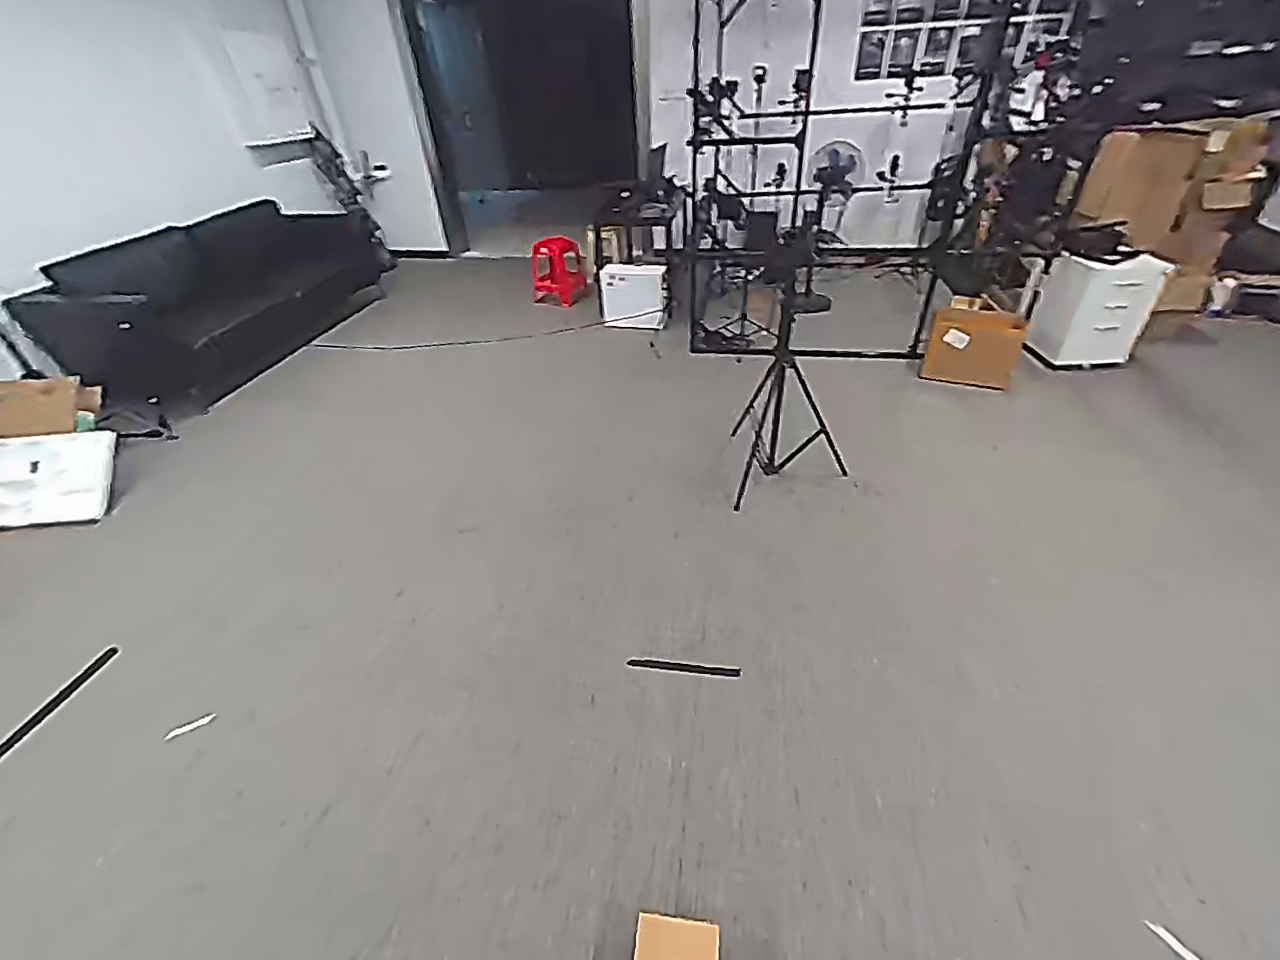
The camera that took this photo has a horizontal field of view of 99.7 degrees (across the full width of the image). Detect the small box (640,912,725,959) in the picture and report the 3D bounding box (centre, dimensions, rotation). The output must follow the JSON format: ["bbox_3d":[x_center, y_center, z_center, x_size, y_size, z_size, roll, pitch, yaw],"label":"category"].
[{"bbox_3d":[0.079,1.006,1.076,0.168,0.176,0.179,3,37,8],"label":"small box"}]
